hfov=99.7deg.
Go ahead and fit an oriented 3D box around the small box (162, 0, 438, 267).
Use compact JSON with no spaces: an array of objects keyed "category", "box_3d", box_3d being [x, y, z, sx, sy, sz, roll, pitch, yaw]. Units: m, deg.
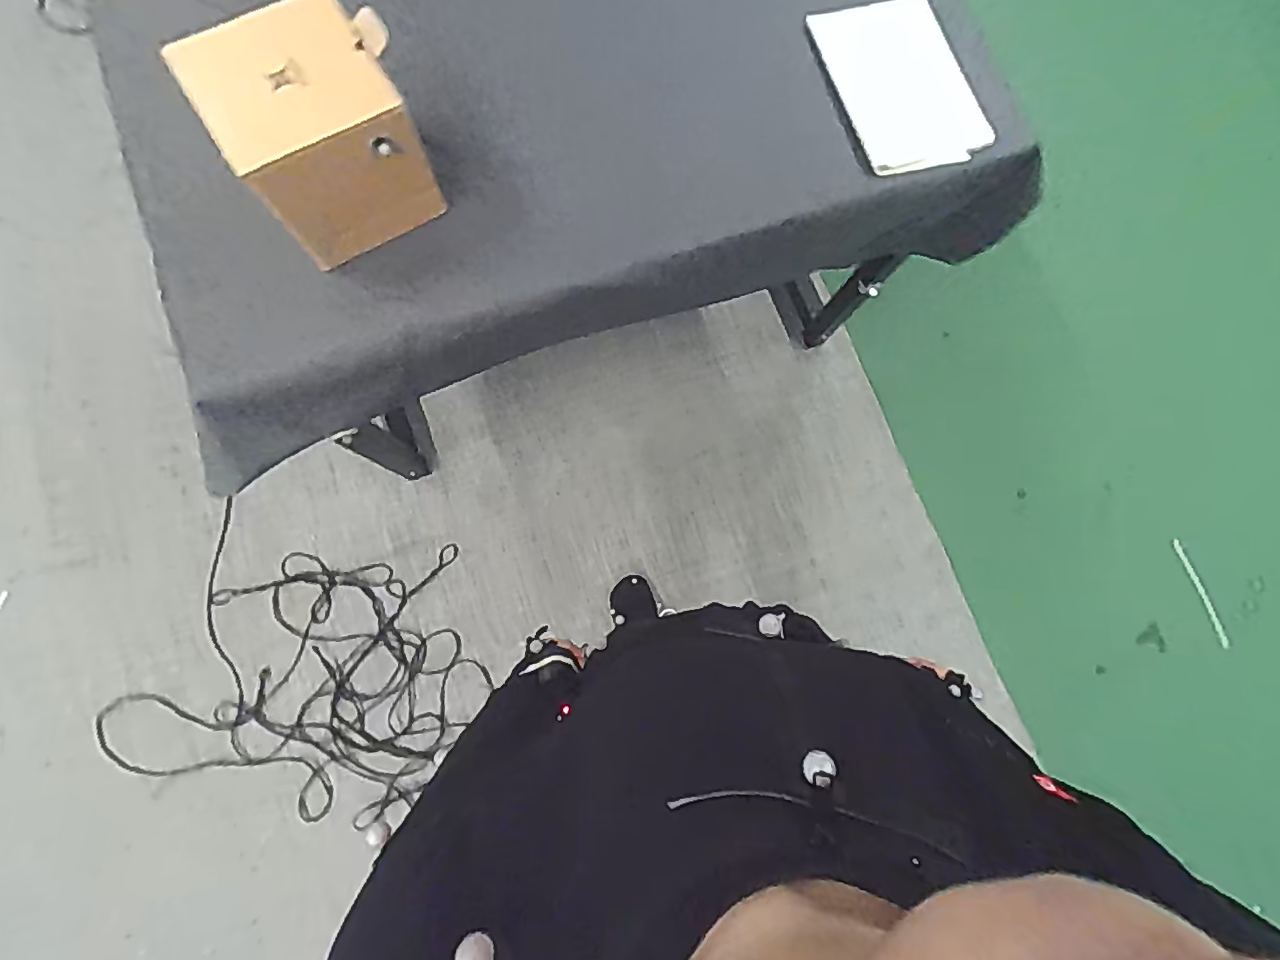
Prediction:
[{"category":"small box","box_3d":[-0.362,-0.380,0.613,0.179,0.176,0.168,-33,83,-11]}]
